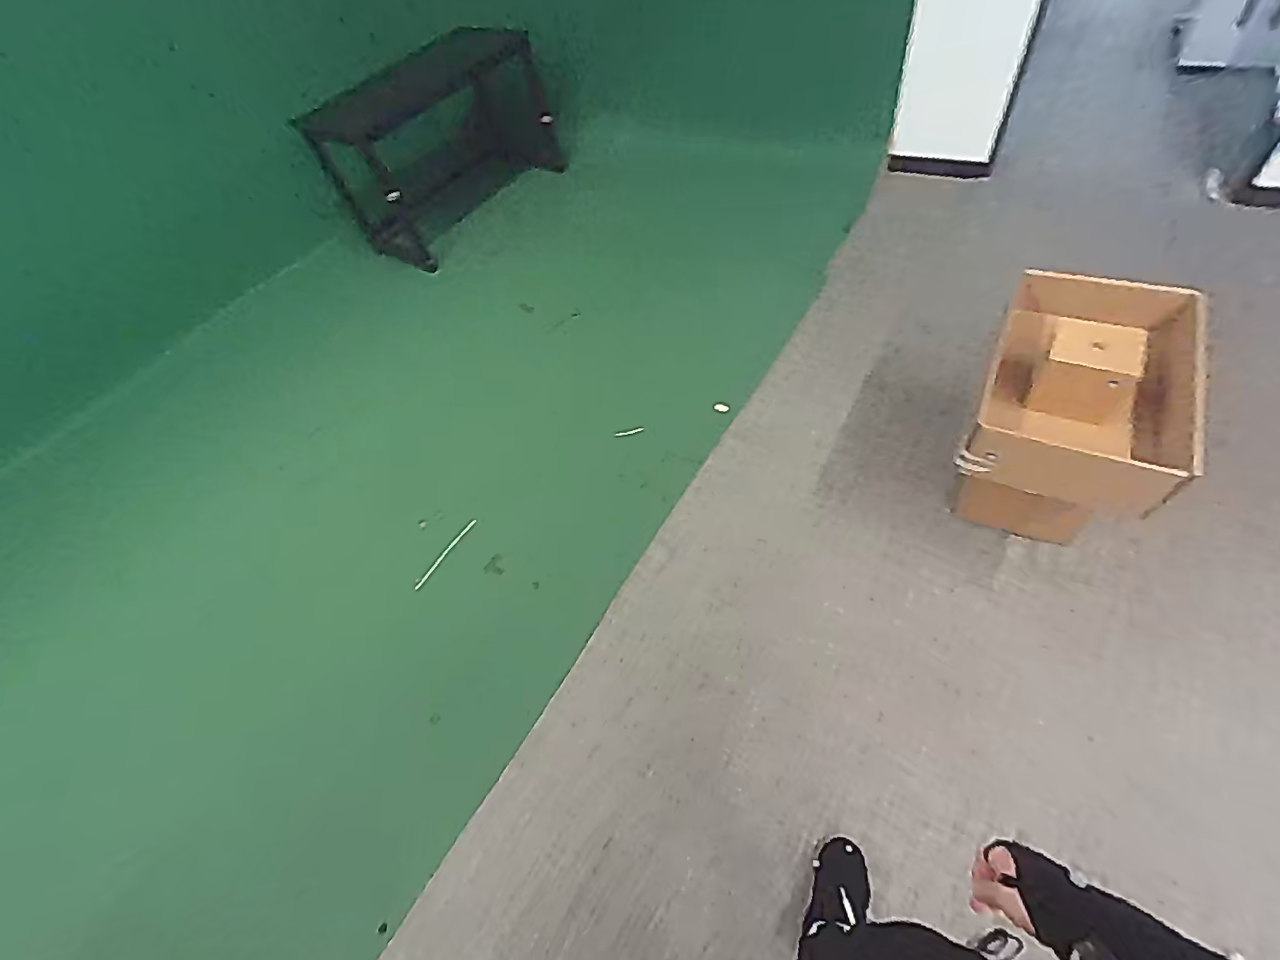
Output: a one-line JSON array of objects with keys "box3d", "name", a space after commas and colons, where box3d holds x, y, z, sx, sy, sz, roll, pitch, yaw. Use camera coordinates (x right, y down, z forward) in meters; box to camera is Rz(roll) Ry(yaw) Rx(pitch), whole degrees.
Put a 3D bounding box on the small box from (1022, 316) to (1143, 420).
[{"box3d": [1.076, -0.270, 1.325, 0.179, 0.176, 0.168, 20, 61, 24], "name": "small box"}]
